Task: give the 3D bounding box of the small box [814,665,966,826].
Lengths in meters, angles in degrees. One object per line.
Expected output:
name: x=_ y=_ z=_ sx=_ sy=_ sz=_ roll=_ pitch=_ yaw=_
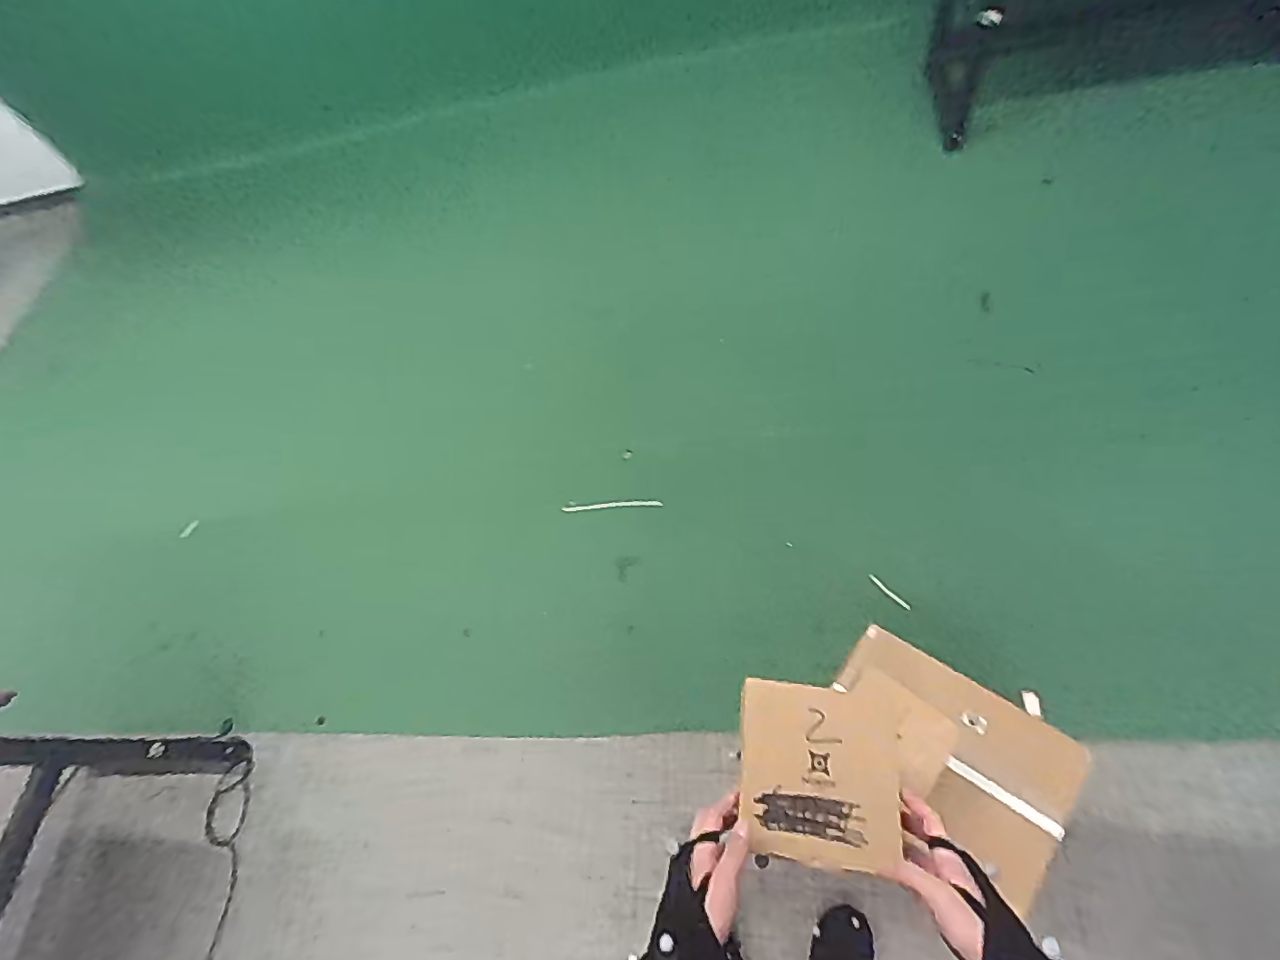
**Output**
small box: x=0.418 y=0.454 z=0.935 sx=0.168 sy=0.176 sz=0.179 roll=34 pitch=75 yaw=25
